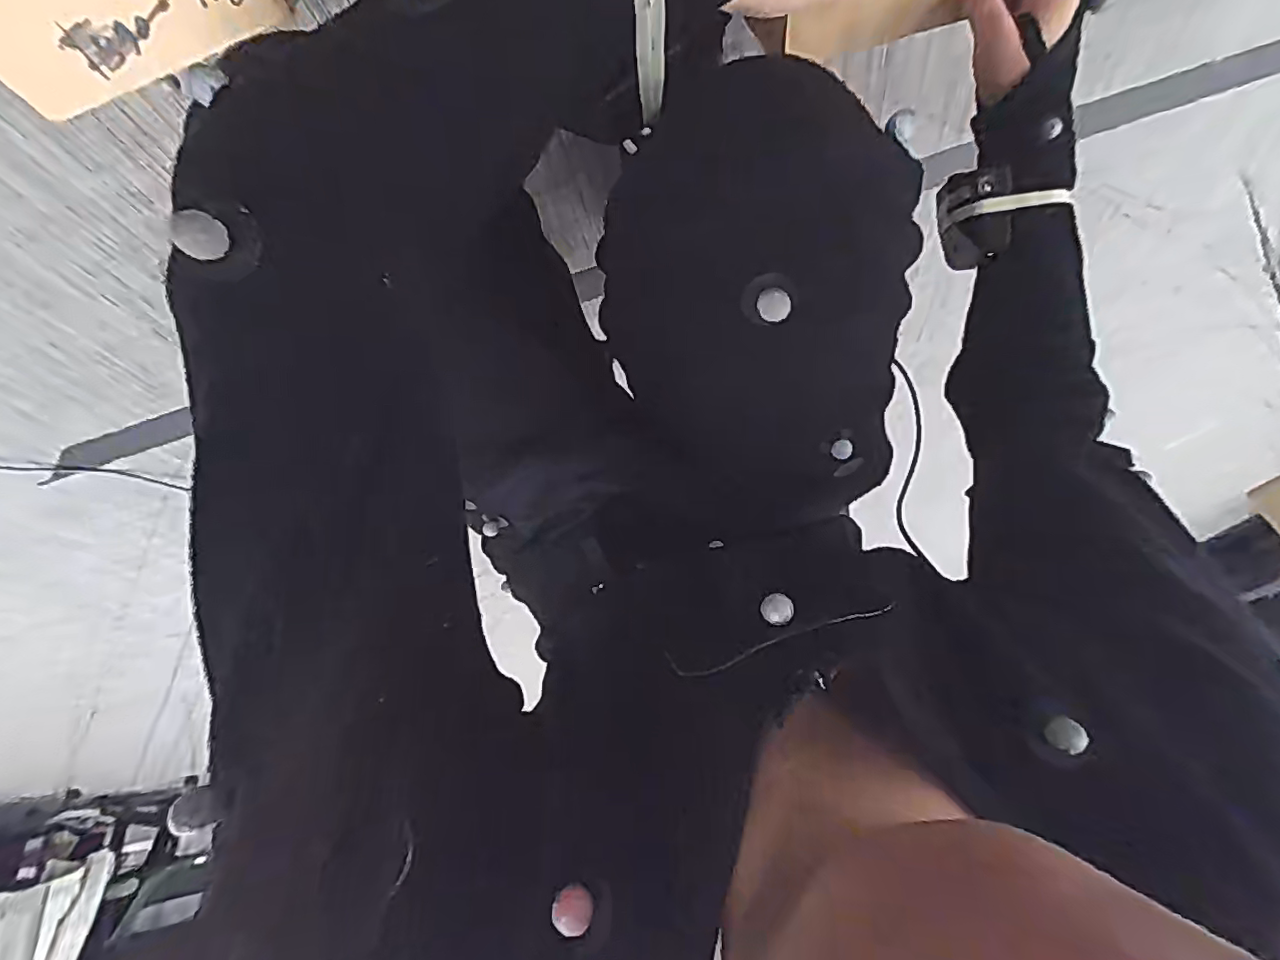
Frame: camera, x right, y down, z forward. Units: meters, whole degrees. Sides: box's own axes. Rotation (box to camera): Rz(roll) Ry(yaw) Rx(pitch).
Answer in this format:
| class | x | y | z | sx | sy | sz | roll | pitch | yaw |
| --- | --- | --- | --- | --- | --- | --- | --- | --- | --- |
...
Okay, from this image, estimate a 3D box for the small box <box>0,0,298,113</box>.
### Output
| class | x | y | z | sx | sy | sz | roll | pitch | yaw |
| --- | --- | --- | --- | --- | --- | --- | --- | --- | --- |
| small box | -0.308 | -0.343 | 0.277 | 0.168 | 0.176 | 0.179 | -18 | 150 | 4 |
